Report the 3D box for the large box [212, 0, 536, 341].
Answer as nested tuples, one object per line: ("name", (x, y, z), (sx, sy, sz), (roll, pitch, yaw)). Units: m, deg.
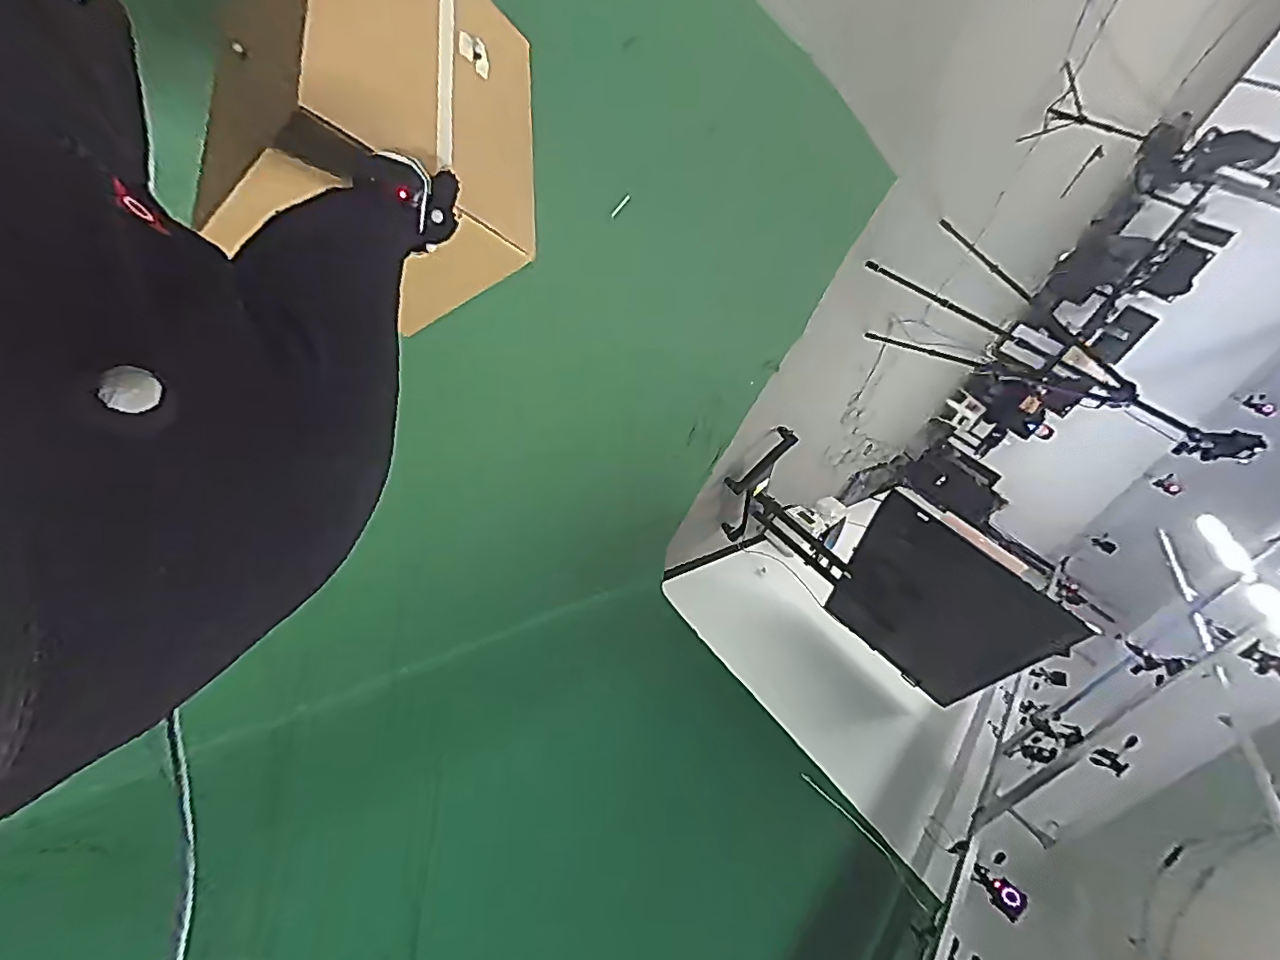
("large box", (-0.380, -0.482, 0.793), (0.320, 0.408, 0.320), (-16, 162, 34))
